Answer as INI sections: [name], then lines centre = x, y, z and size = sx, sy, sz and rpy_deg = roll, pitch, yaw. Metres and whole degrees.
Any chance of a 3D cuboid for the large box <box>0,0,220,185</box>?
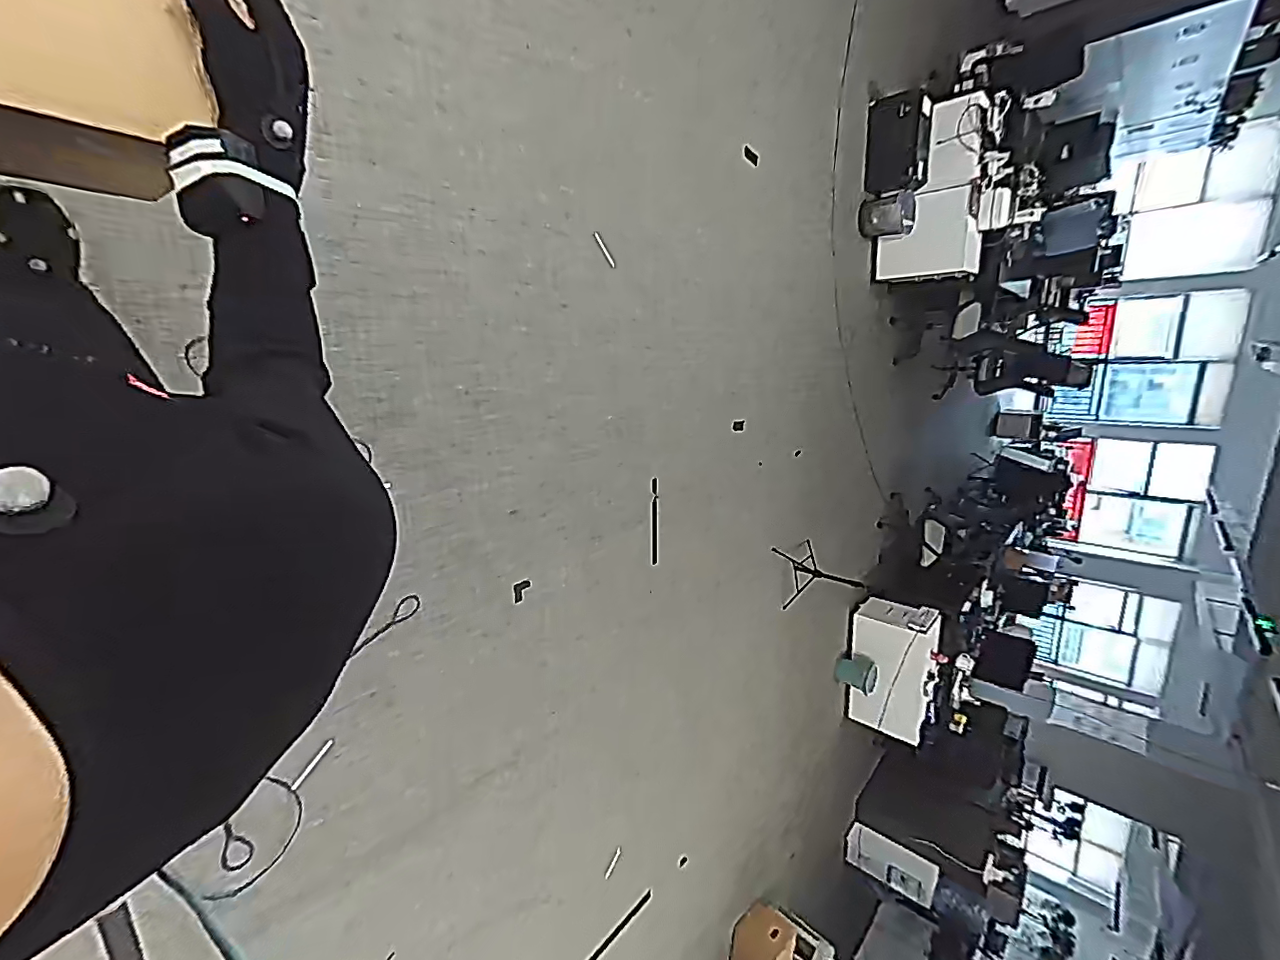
[large box]
centre = -0.578, -0.421, 0.349
size = 0.408, 0.320, 0.320
rpy_deg = -14, 113, -48
